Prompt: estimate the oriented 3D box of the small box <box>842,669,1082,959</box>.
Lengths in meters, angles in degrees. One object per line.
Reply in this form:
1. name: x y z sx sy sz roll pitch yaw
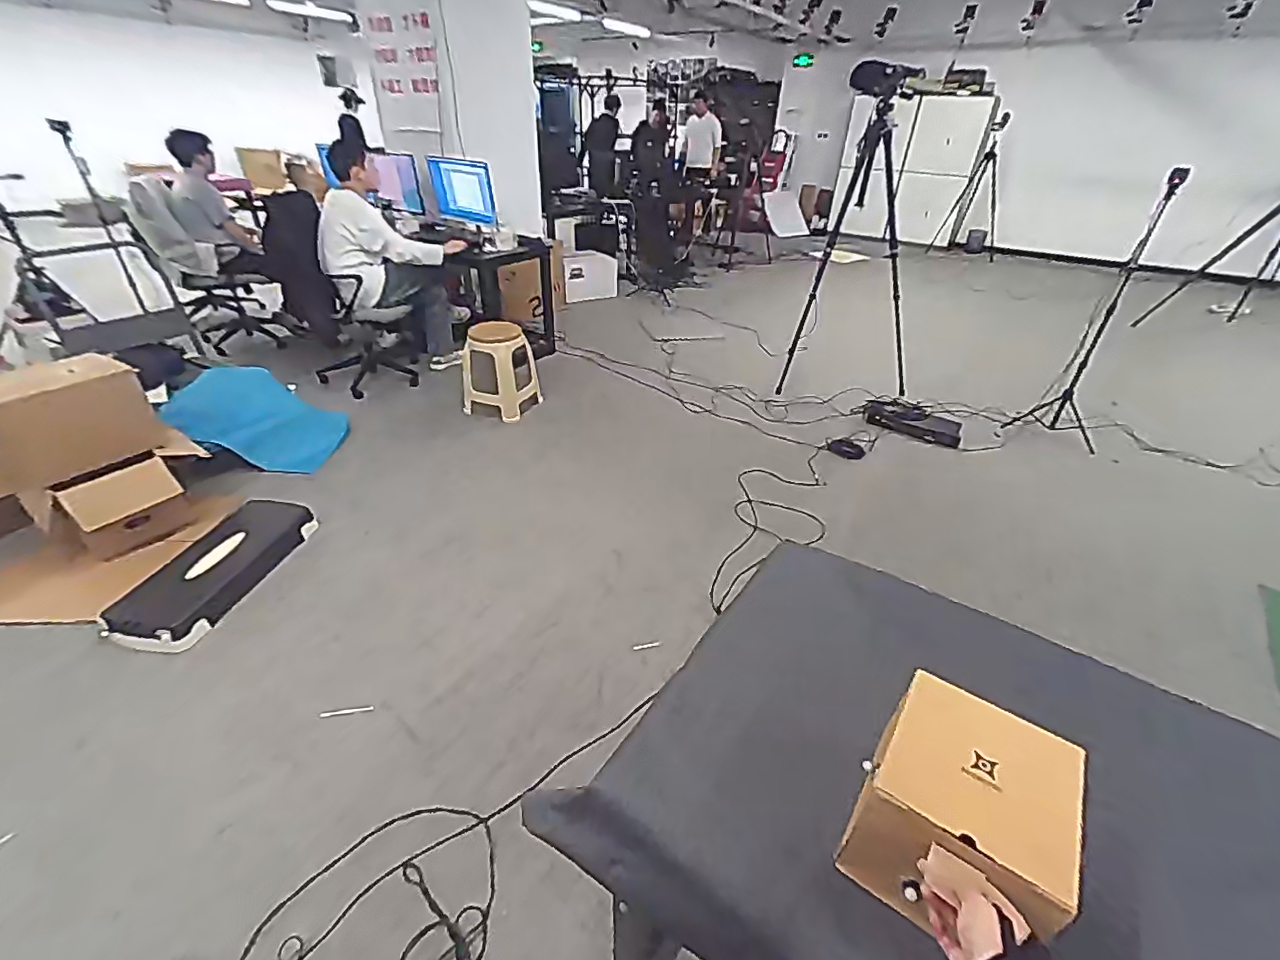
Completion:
1. small box: 0.340 0.353 0.586 0.168 0.176 0.179 24 39 28
